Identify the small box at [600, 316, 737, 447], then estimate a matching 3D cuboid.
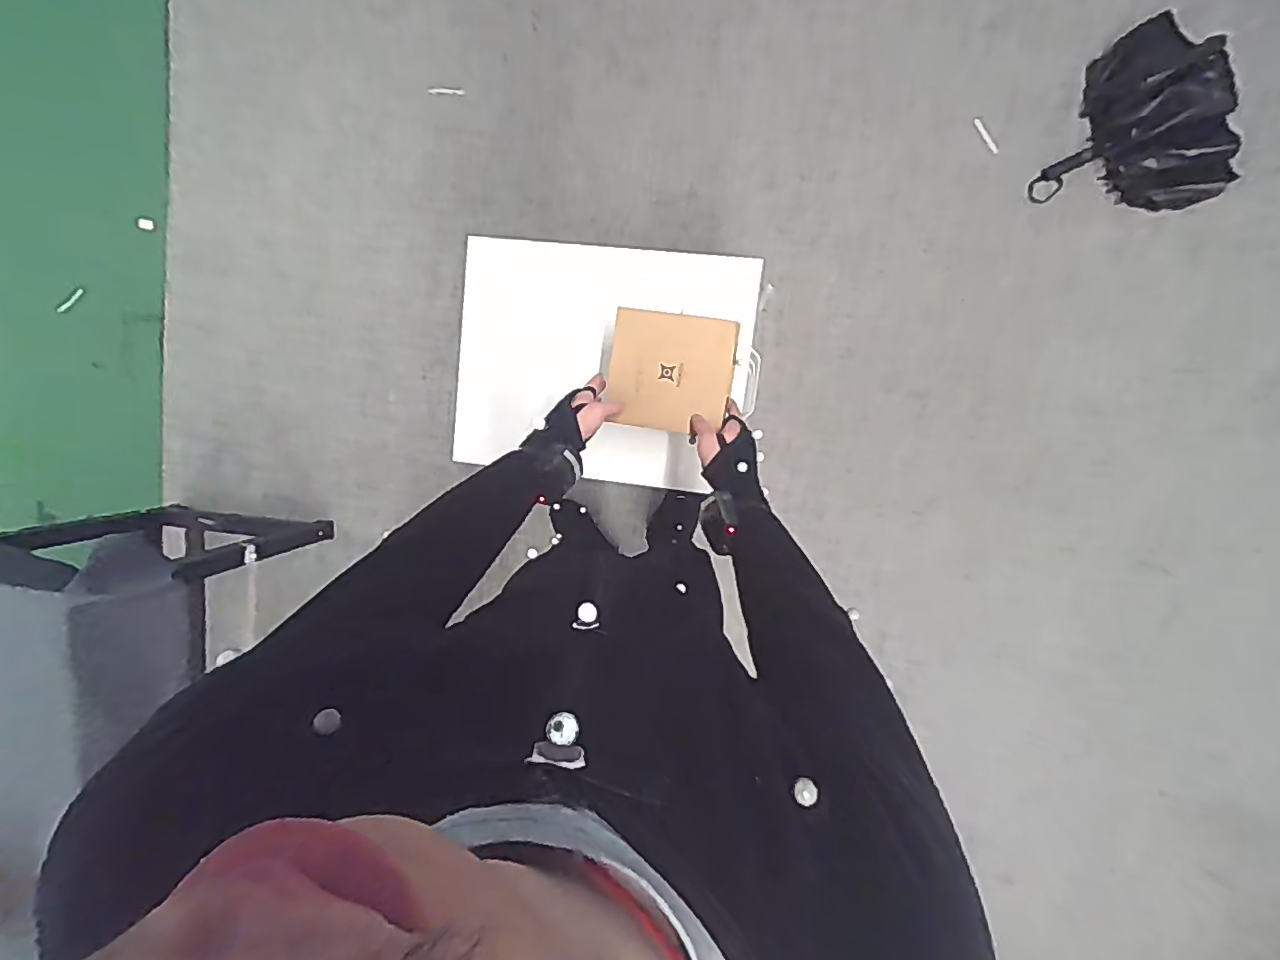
[{"bbox_3d":[0.049,-0.146,0.837,0.179,0.176,0.168,8,96,9],"label":"small box"}]
